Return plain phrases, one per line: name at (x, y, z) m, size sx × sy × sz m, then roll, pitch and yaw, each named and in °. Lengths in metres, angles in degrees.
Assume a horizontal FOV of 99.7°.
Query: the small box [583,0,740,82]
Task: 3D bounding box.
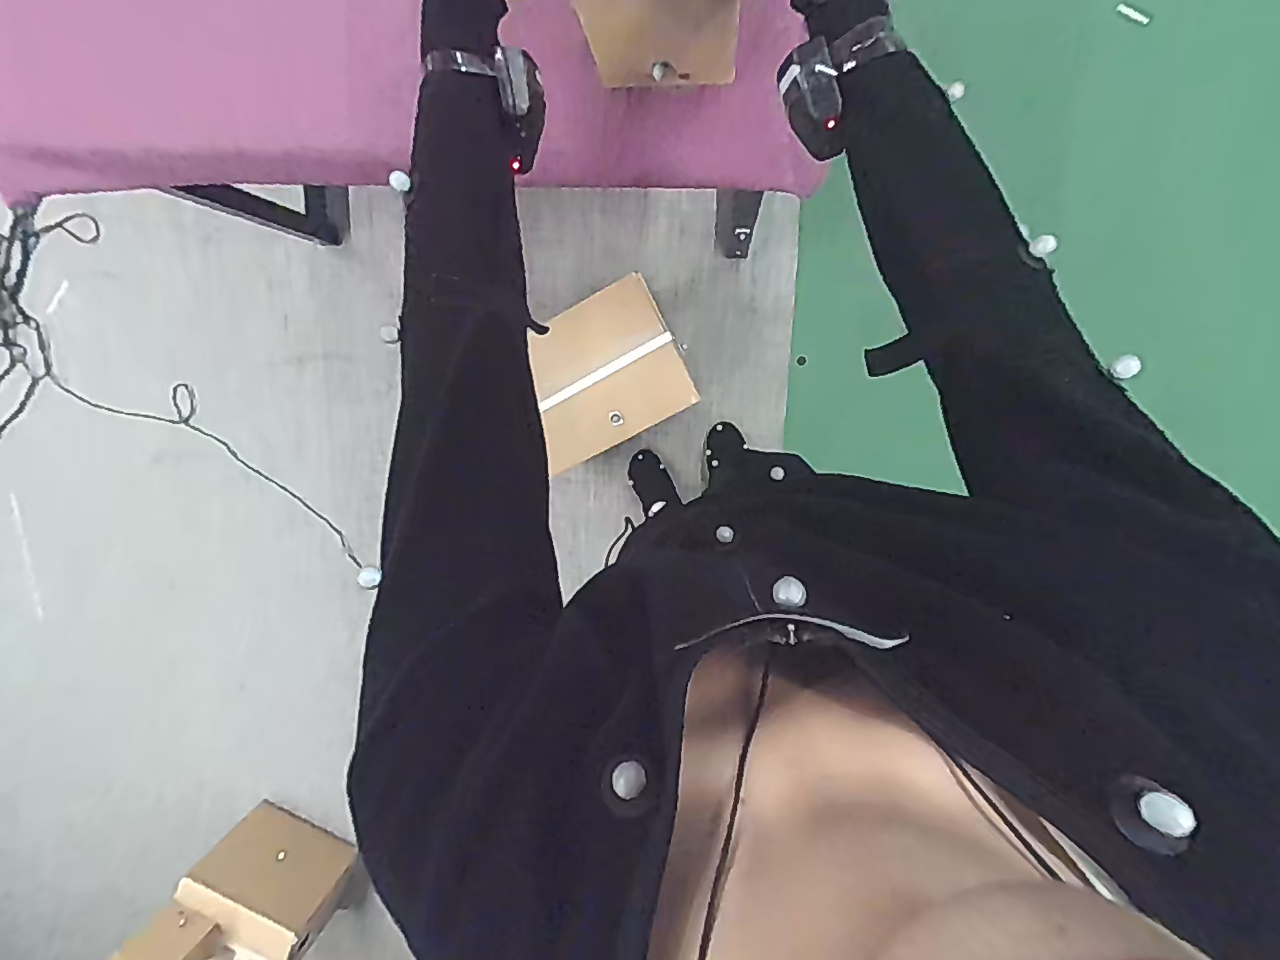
small box at (0.028, -0.573, 0.585) m, size 0.168 × 0.176 × 0.179 m, roll 4°, pitch 101°, yaw 8°
